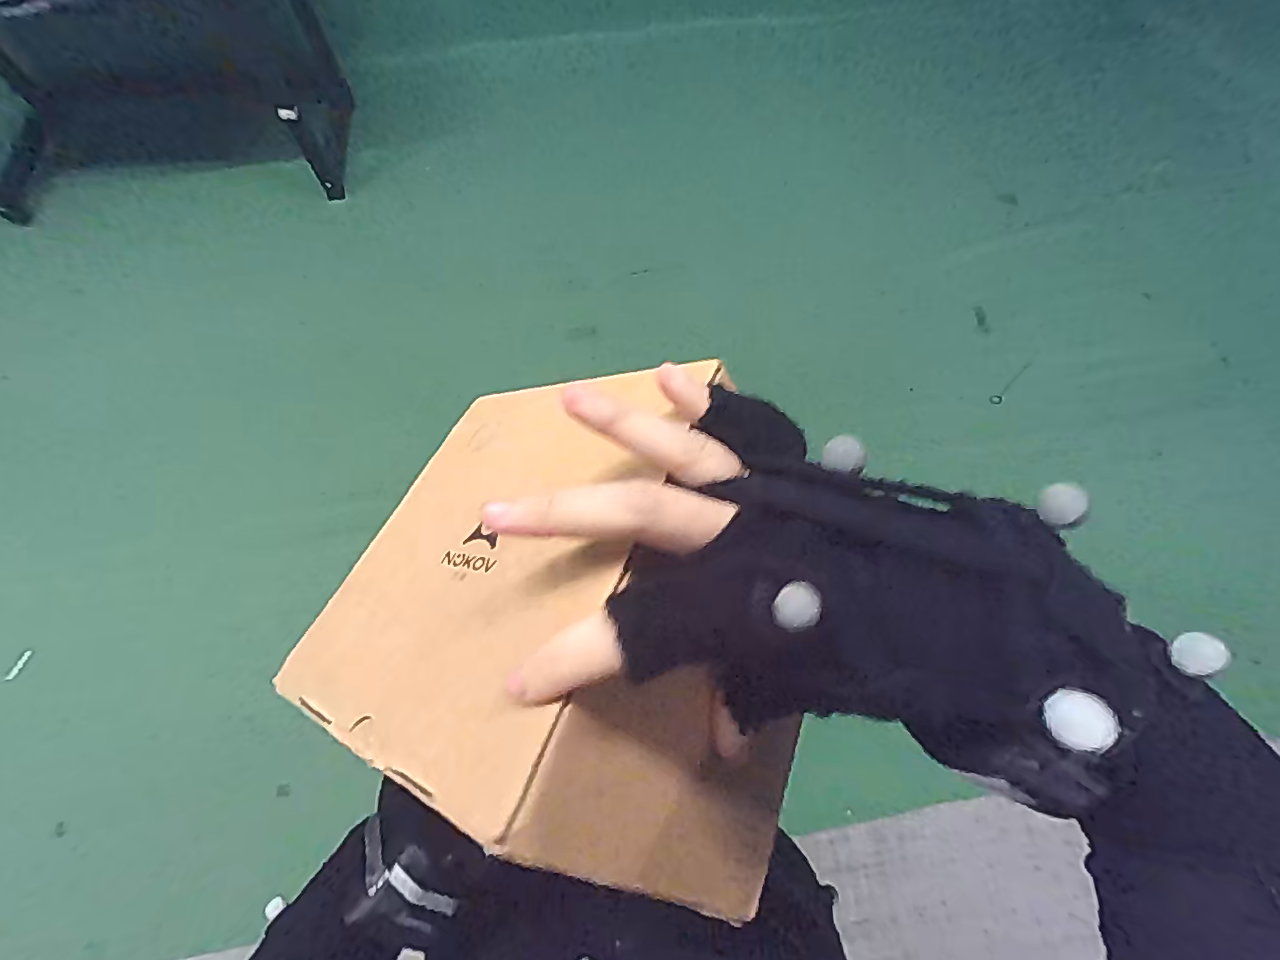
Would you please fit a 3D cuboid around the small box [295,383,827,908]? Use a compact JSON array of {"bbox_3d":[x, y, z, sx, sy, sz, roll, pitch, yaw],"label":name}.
[{"bbox_3d":[-0.020,0.075,0.279,0.168,0.176,0.179,2,54,41],"label":"small box"}]
